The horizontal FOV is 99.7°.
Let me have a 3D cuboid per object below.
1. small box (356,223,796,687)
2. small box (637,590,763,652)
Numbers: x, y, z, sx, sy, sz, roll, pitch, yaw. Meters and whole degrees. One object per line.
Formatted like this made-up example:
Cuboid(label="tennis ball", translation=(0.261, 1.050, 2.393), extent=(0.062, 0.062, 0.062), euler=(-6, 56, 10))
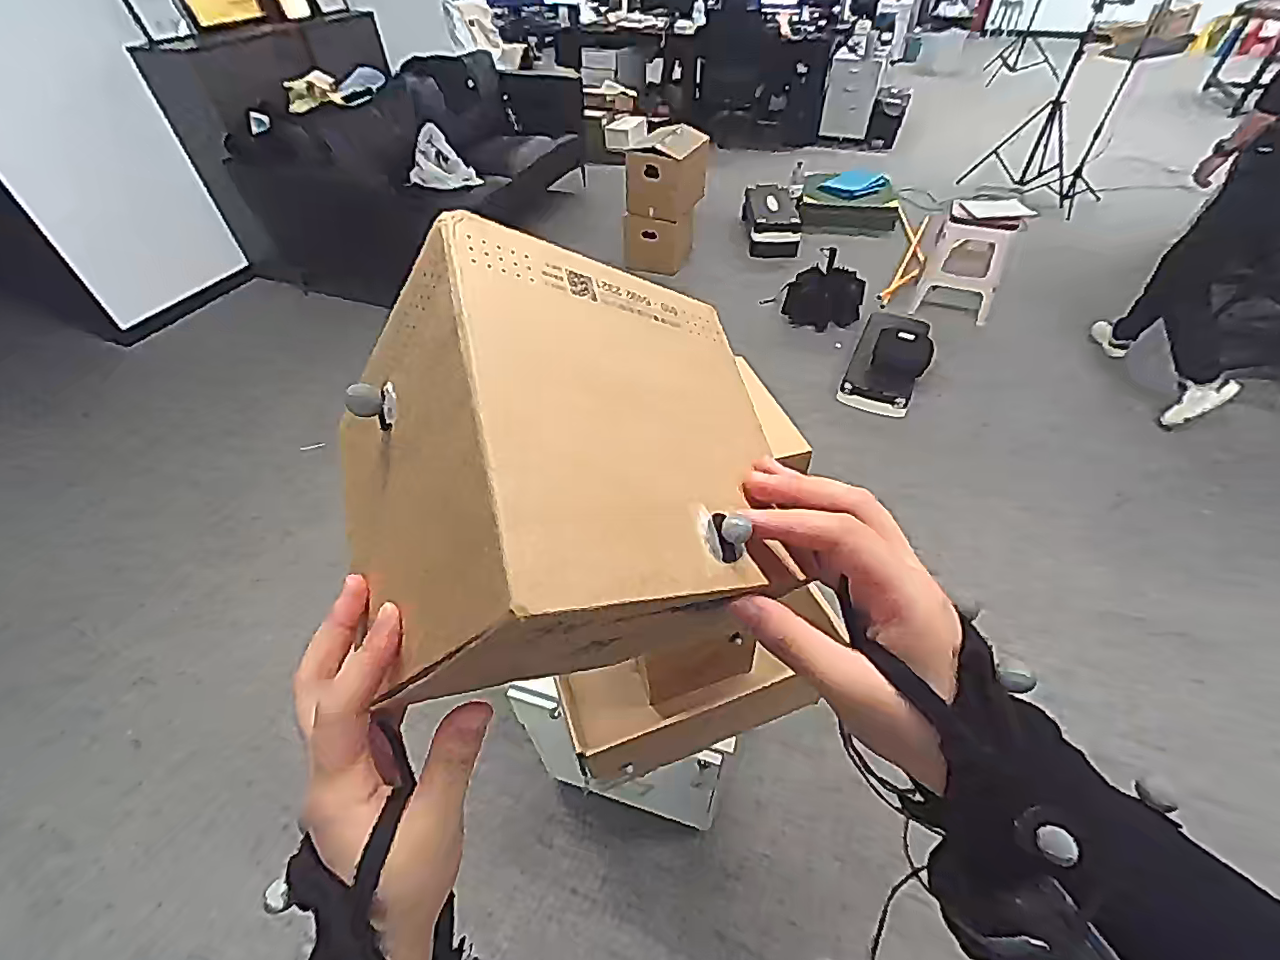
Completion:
Cuboid(label="small box", translation=(-0.051, 0.002, 0.305), extent=(0.168, 0.179, 0.176), euler=(4, 61, -41))
Cuboid(label="small box", translation=(0.058, 0.100, 0.724), extent=(0.179, 0.176, 0.168), euler=(-16, 46, -10))
